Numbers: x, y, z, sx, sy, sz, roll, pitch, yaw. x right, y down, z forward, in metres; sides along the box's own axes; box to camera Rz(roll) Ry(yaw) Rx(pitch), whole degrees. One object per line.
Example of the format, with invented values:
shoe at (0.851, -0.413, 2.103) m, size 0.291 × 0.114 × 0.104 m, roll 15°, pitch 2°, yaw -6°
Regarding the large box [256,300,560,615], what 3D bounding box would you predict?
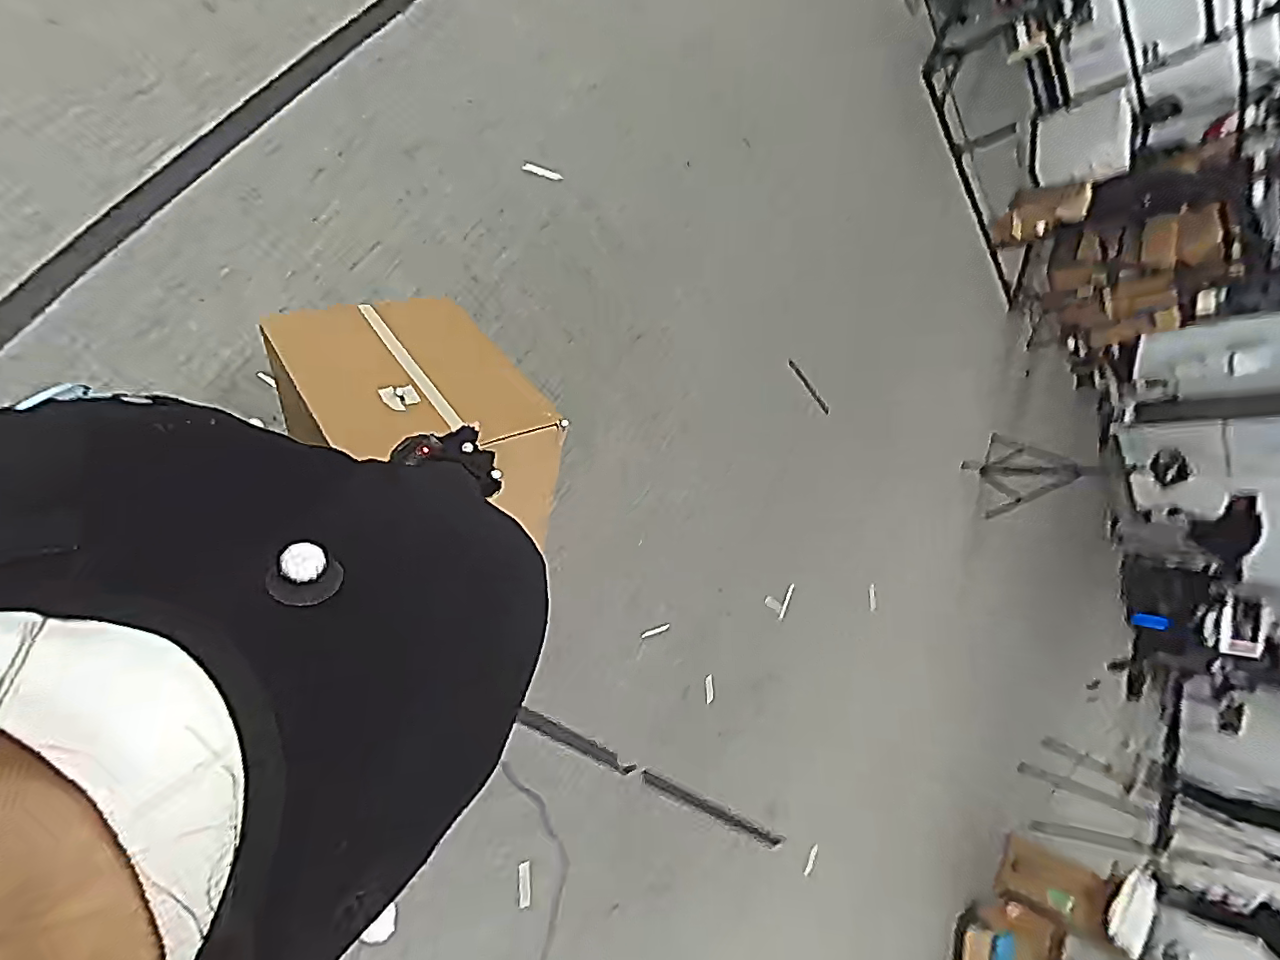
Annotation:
large box at (-0.393, -0.058, 0.926) m, size 0.320 × 0.408 × 0.320 m, roll -21°, pitch 147°, yaw -35°
